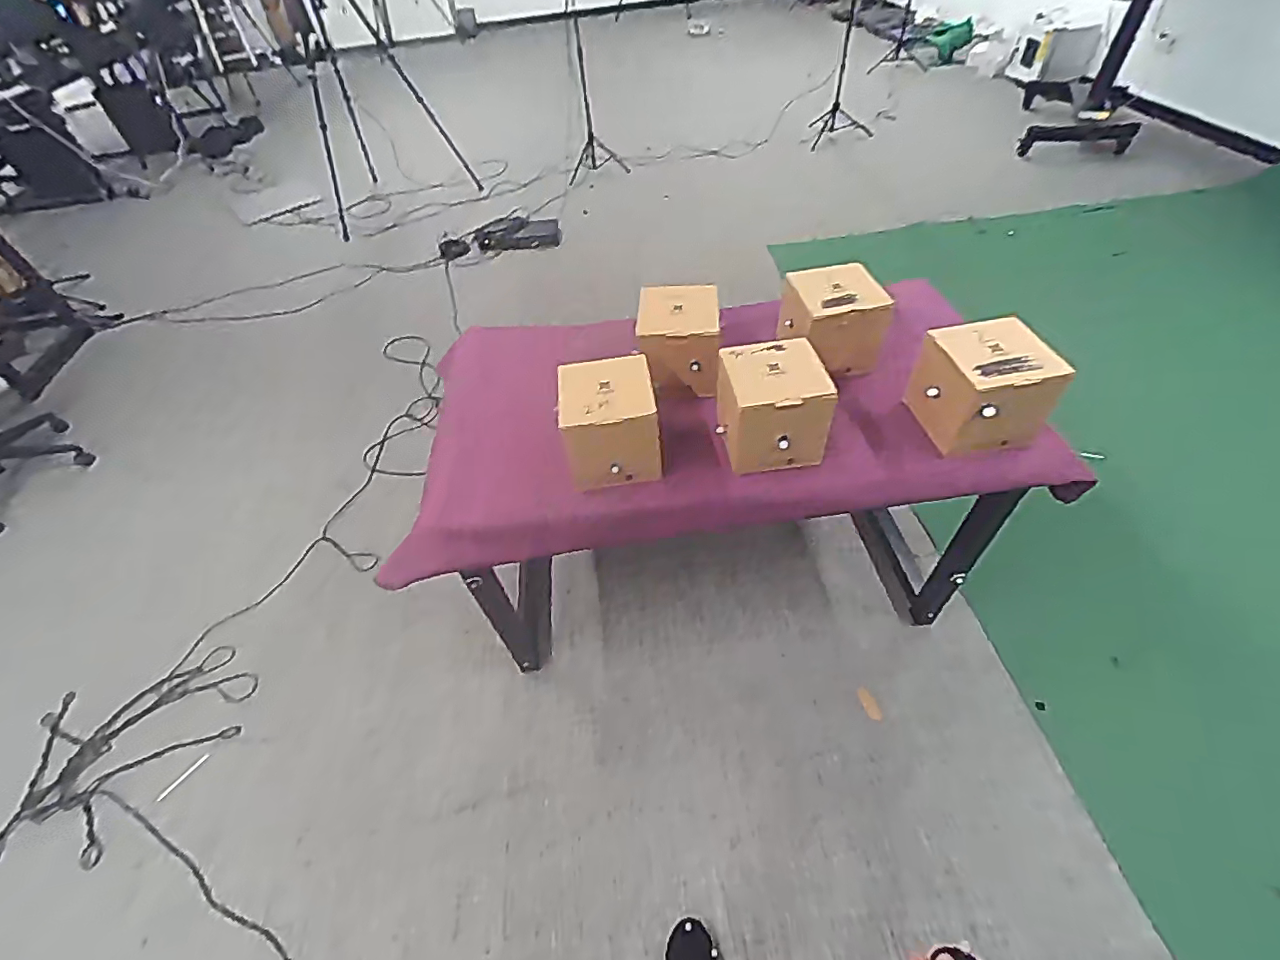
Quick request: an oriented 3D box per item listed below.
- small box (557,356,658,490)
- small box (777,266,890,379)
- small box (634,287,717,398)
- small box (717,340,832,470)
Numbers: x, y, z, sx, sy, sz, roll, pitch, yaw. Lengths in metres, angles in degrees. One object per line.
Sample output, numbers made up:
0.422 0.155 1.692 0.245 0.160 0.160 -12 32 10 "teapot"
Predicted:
-0.059 -0.105 1.012 0.168 0.176 0.179 -8 48 0 "small box"
0.404 -0.331 1.162 0.168 0.176 0.179 -9 47 -2 "small box"
0.081 -0.291 1.163 0.168 0.176 0.179 1 49 5 "small box"
0.239 -0.133 1.005 0.168 0.176 0.179 -7 48 0 "small box"
